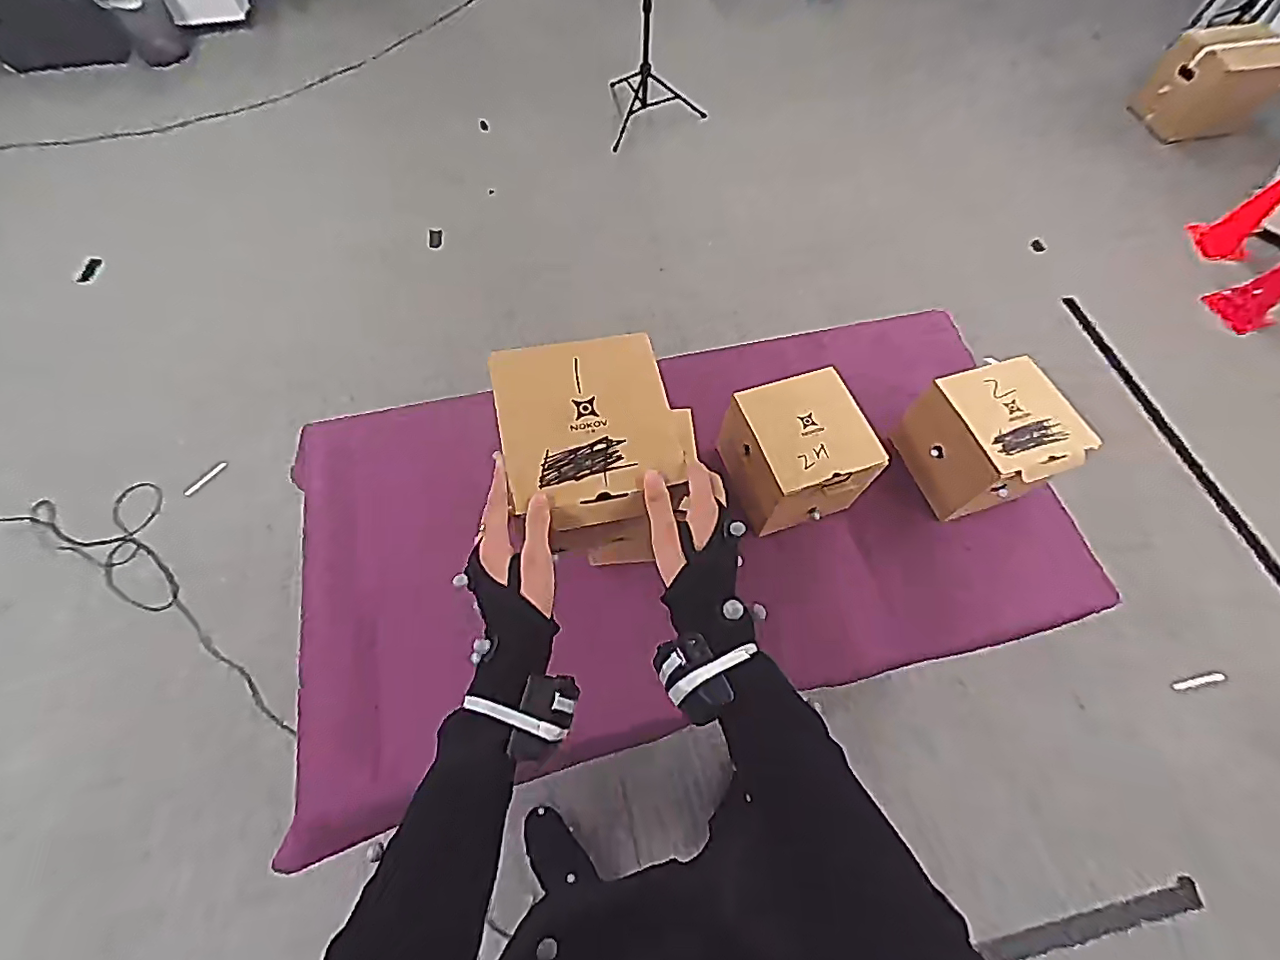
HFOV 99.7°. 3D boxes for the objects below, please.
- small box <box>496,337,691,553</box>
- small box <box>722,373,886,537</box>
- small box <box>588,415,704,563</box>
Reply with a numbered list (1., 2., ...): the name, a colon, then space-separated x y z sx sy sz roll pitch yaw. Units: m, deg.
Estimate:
1. small box: -0.054 -0.028 0.596 0.168 0.176 0.179 -10 68 -10
2. small box: 0.240 -0.034 0.846 0.168 0.176 0.179 -16 66 -8
3. small box: -0.001 0.021 0.818 0.168 0.176 0.179 -3 64 -3
